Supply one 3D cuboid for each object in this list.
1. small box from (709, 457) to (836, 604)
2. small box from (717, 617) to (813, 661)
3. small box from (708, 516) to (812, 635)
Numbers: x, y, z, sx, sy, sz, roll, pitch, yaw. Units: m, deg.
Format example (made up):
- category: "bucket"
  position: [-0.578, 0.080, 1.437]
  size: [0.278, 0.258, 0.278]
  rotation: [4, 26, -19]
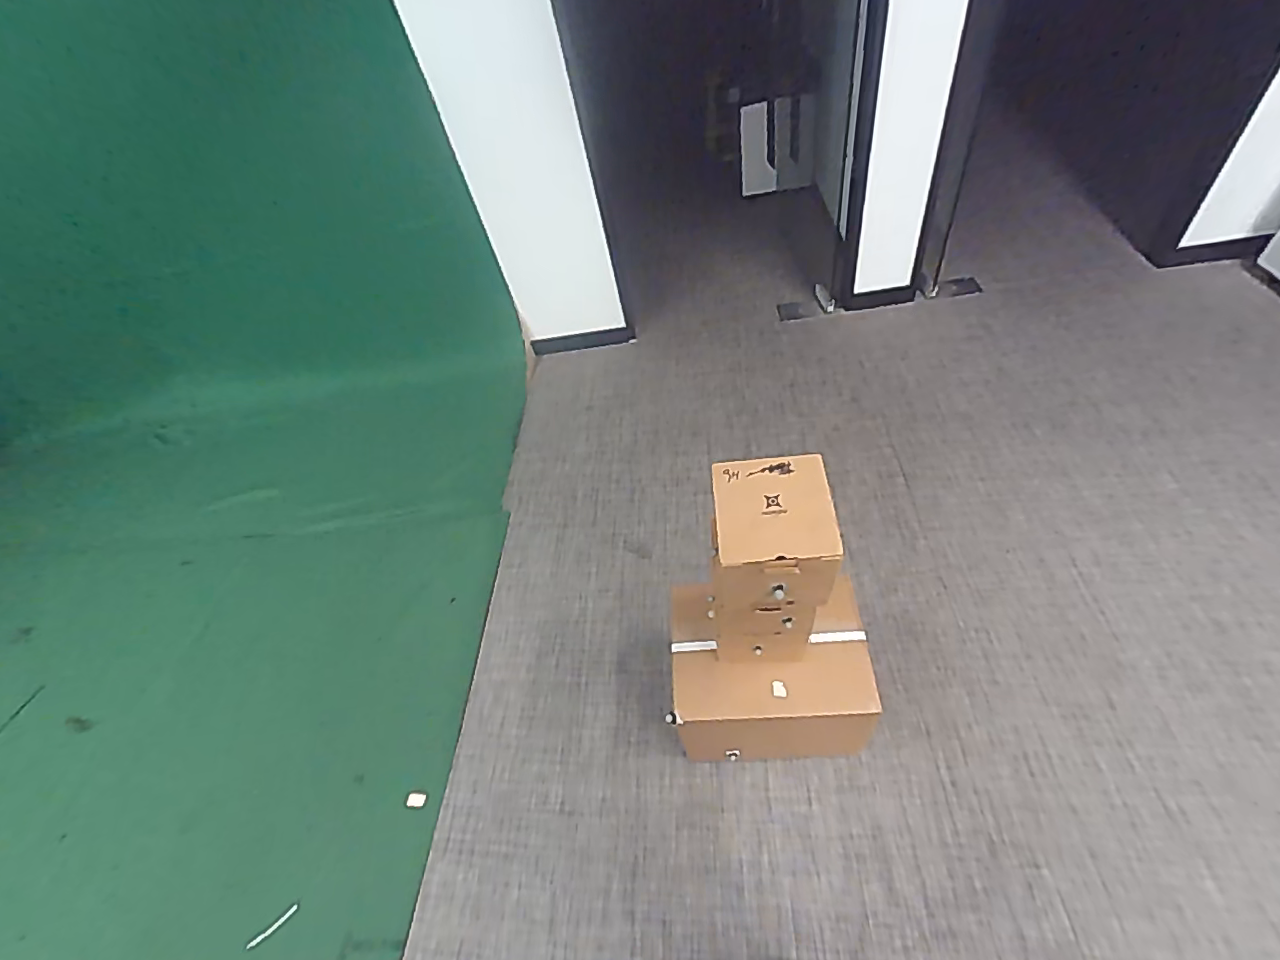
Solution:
- category: "small box"
  position: [0.200, 0.087, 0.846]
  size: [0.168, 0.176, 0.179]
  rotation: [-5, 56, 8]
- category: "small box"
  position: [0.245, 0.265, 1.114]
  size: [0.179, 0.176, 0.168]
  rotation: [-7, 55, 8]
- category: "small box"
  position: [0.216, 0.174, 0.984]
  size: [0.168, 0.176, 0.179]
  rotation: [-5, 54, 8]
